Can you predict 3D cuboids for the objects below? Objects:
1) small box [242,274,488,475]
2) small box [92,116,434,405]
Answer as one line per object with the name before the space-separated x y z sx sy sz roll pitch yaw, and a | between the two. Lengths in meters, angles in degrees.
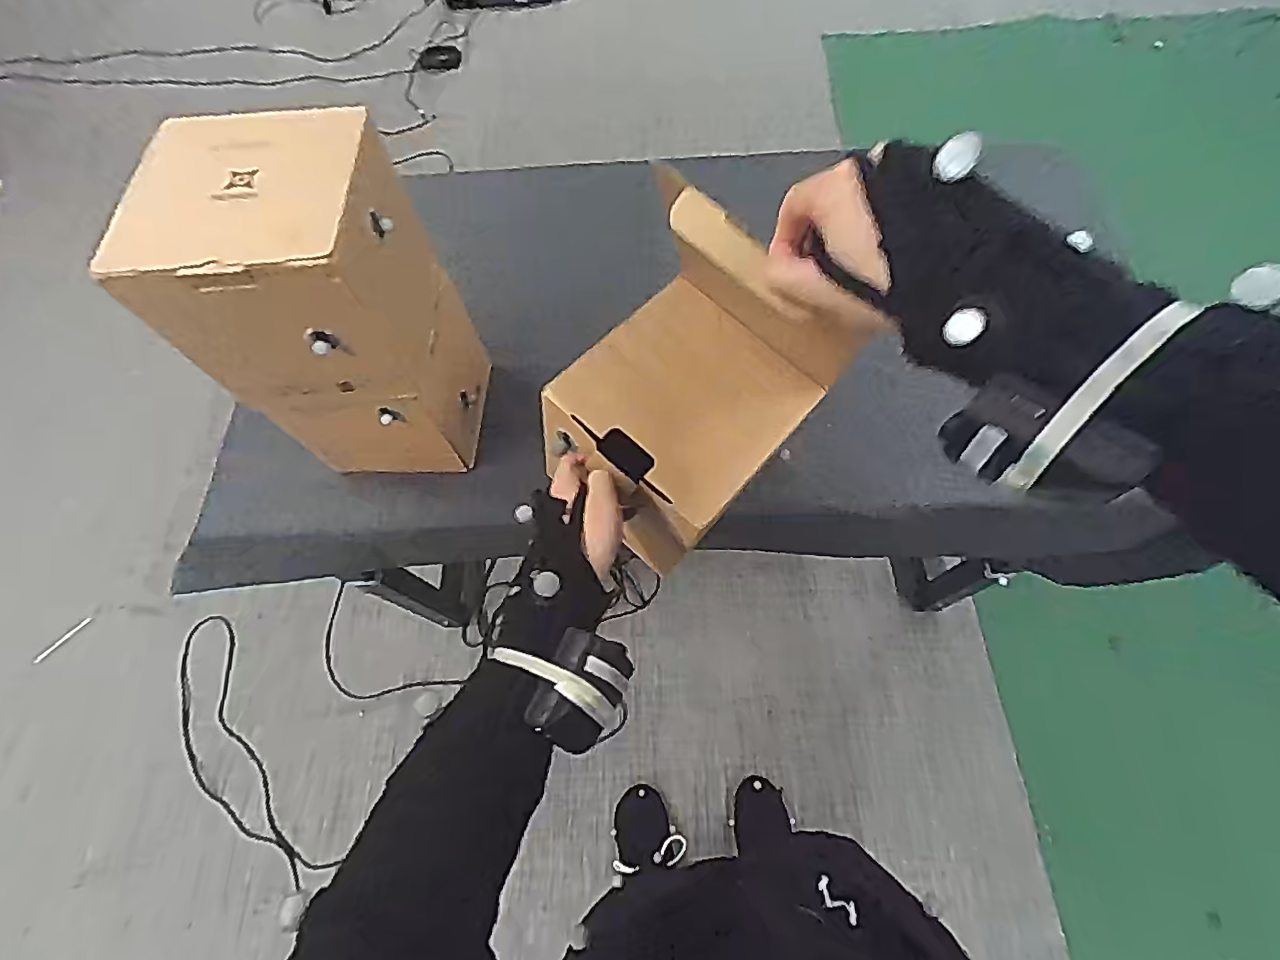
small box | -0.295 -0.113 0.625 0.179 0.176 0.168 0 64 3
small box | -0.297 -0.179 0.476 0.168 0.176 0.179 -4 63 -1
